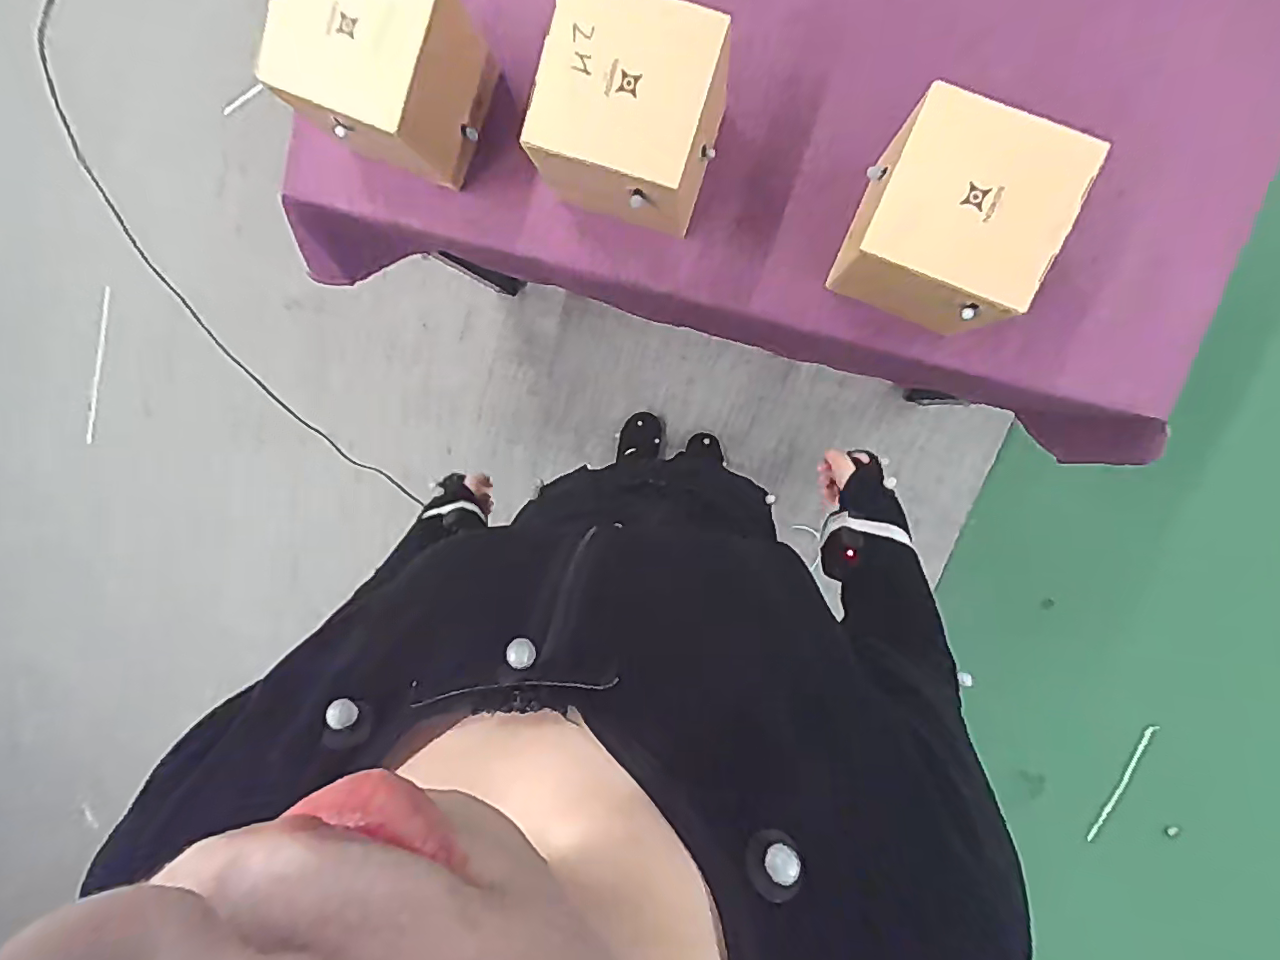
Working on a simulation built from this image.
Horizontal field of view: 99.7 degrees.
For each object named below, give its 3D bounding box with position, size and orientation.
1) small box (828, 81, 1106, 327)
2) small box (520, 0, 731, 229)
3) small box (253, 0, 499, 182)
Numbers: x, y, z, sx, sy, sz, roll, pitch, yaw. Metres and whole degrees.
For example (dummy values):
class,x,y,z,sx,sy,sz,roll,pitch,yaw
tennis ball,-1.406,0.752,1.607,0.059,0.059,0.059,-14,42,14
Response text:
class,x,y,z,sx,sy,sz,roll,pitch,yaw
small box,0.333,-0.282,0.598,0.179,0.176,0.168,23,100,3
small box,-0.008,-0.410,0.618,0.179,0.176,0.168,19,99,4
small box,-0.298,-0.489,0.641,0.179,0.176,0.168,24,101,2
